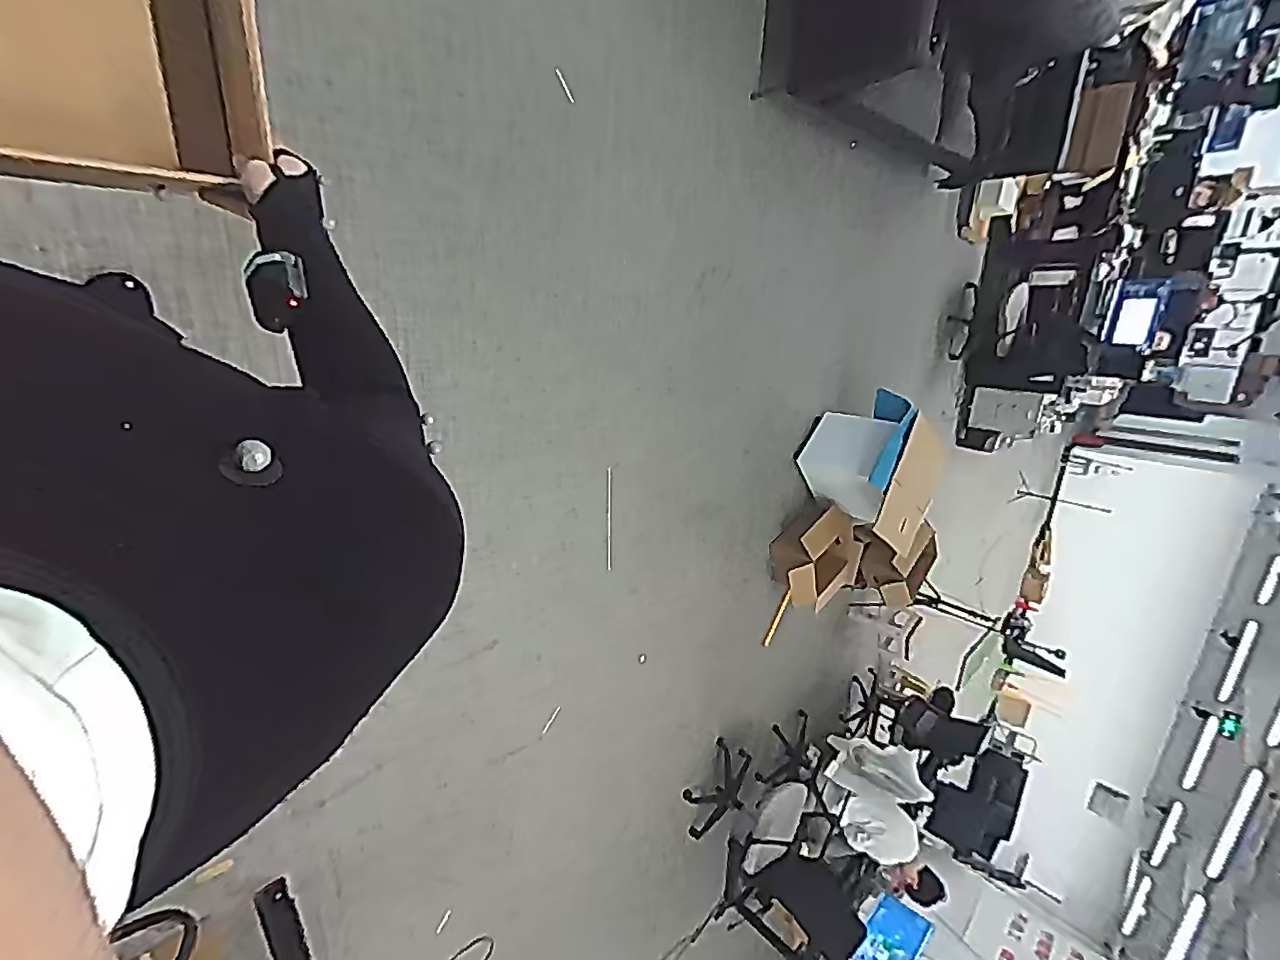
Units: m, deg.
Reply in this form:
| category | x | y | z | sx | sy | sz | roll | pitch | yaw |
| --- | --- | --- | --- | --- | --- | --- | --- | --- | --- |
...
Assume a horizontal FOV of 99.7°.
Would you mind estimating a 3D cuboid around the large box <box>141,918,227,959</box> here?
| category | x | y | z | sx | sy | sz | roll | pitch | yaw |
| --- | --- | --- | --- | --- | --- | --- | --- | --- | --- |
| large box | -1.266 | 1.526 | 1.447 | 0.320 | 0.320 | 0.408 | -17 | 116 | -40 |
